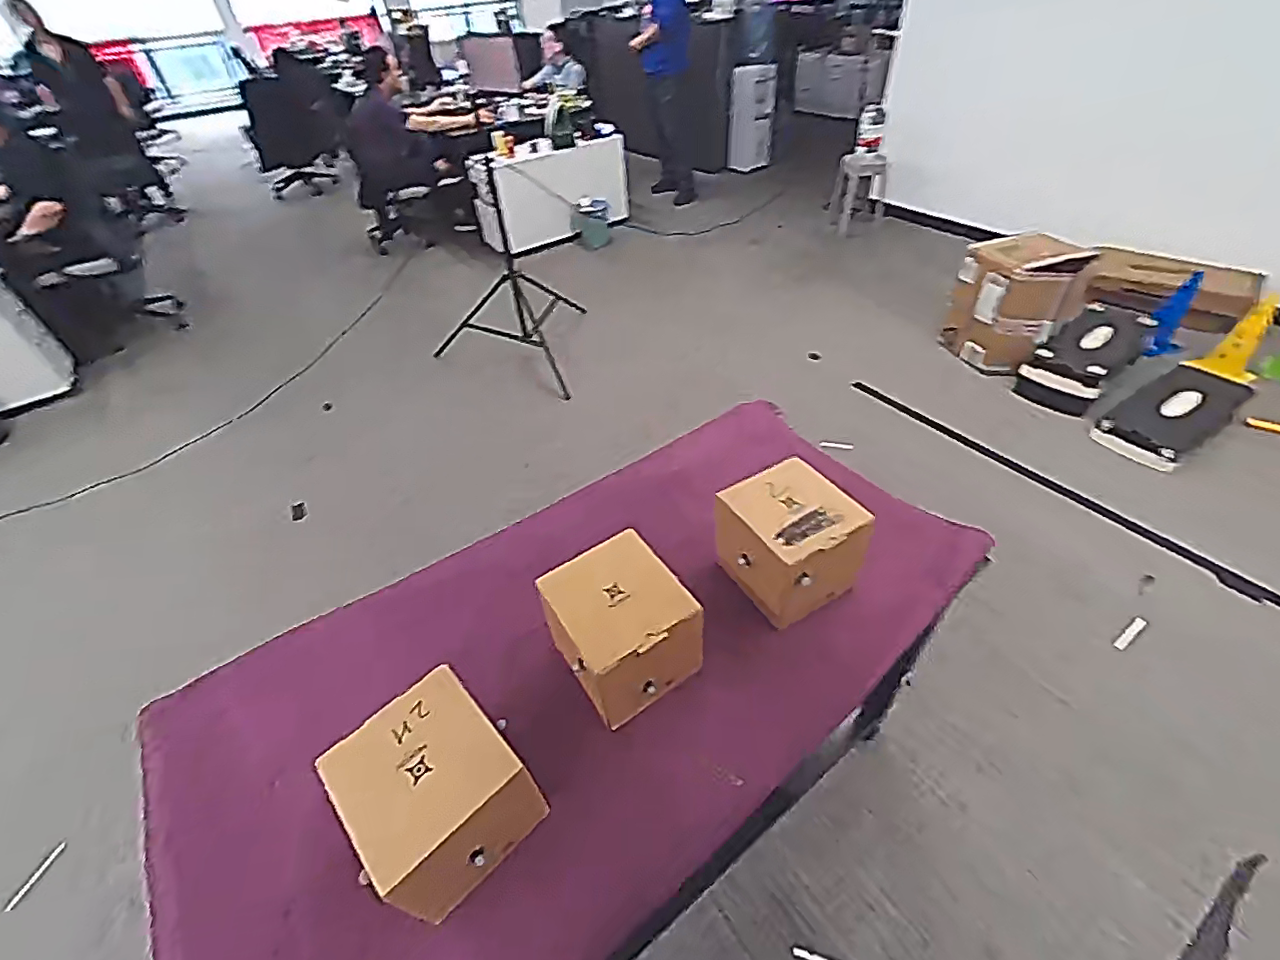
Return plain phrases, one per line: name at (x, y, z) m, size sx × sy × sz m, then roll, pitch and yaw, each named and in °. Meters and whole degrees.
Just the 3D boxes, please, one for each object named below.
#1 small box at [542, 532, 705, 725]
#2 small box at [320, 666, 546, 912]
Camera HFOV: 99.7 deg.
small box at (-0.023, 0.215, 0.789) m, size 0.168 × 0.176 × 0.179 m, roll -27°, pitch 48°, yaw -21°
small box at (-0.234, 0.369, 0.644) m, size 0.168 × 0.176 × 0.179 m, roll -35°, pitch 50°, yaw -28°
